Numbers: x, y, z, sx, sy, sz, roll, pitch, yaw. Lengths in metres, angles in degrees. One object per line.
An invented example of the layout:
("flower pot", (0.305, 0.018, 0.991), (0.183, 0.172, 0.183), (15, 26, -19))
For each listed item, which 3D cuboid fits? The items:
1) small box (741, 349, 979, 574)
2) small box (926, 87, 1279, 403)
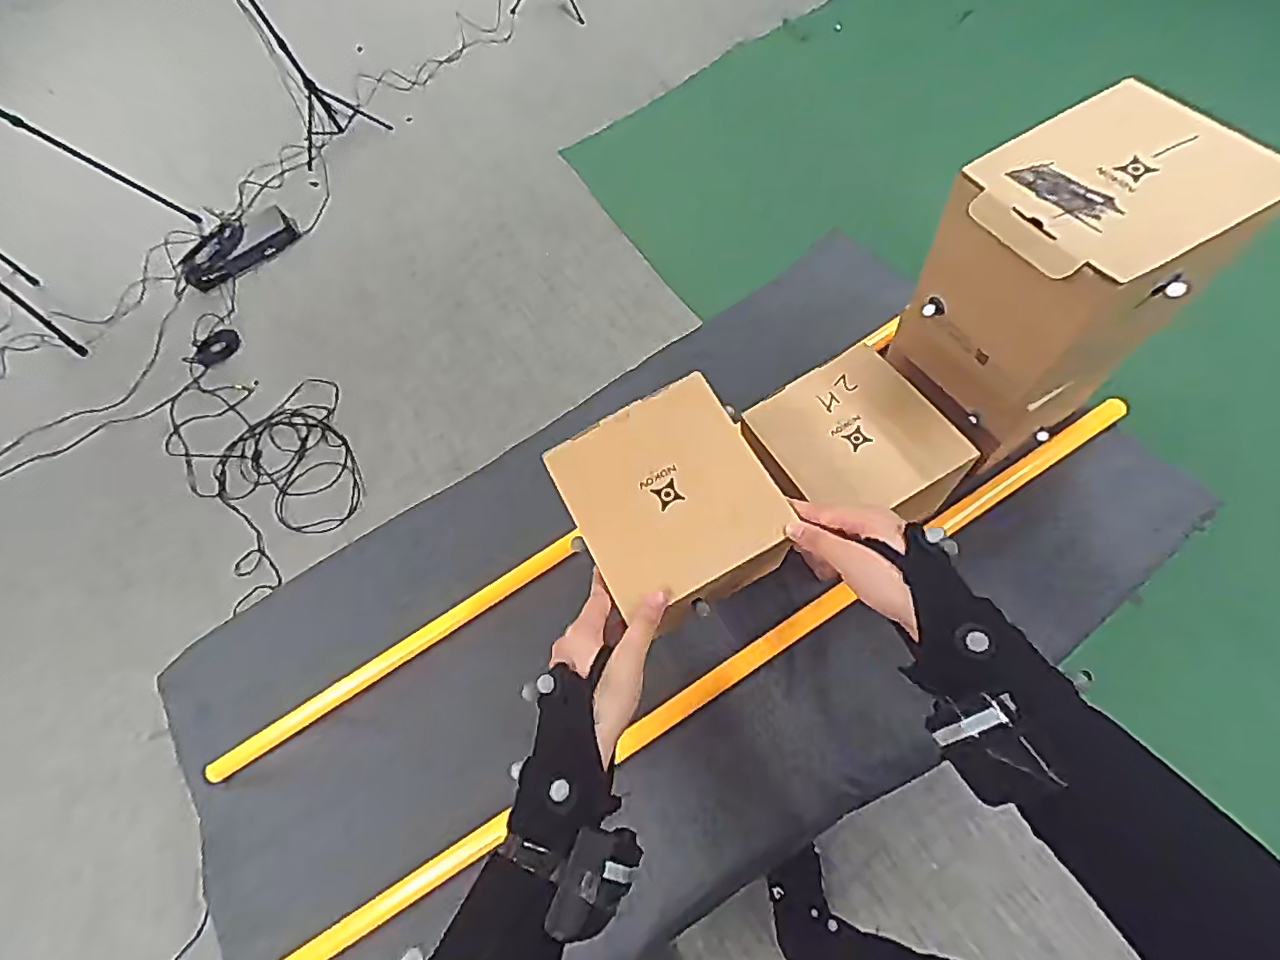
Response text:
("small box", (0.236, -0.007, 0.625), (0.168, 0.176, 0.179), (-30, 63, -1))
("small box", (0.395, -0.201, 0.496), (0.179, 0.176, 0.168), (-29, 63, -2))
